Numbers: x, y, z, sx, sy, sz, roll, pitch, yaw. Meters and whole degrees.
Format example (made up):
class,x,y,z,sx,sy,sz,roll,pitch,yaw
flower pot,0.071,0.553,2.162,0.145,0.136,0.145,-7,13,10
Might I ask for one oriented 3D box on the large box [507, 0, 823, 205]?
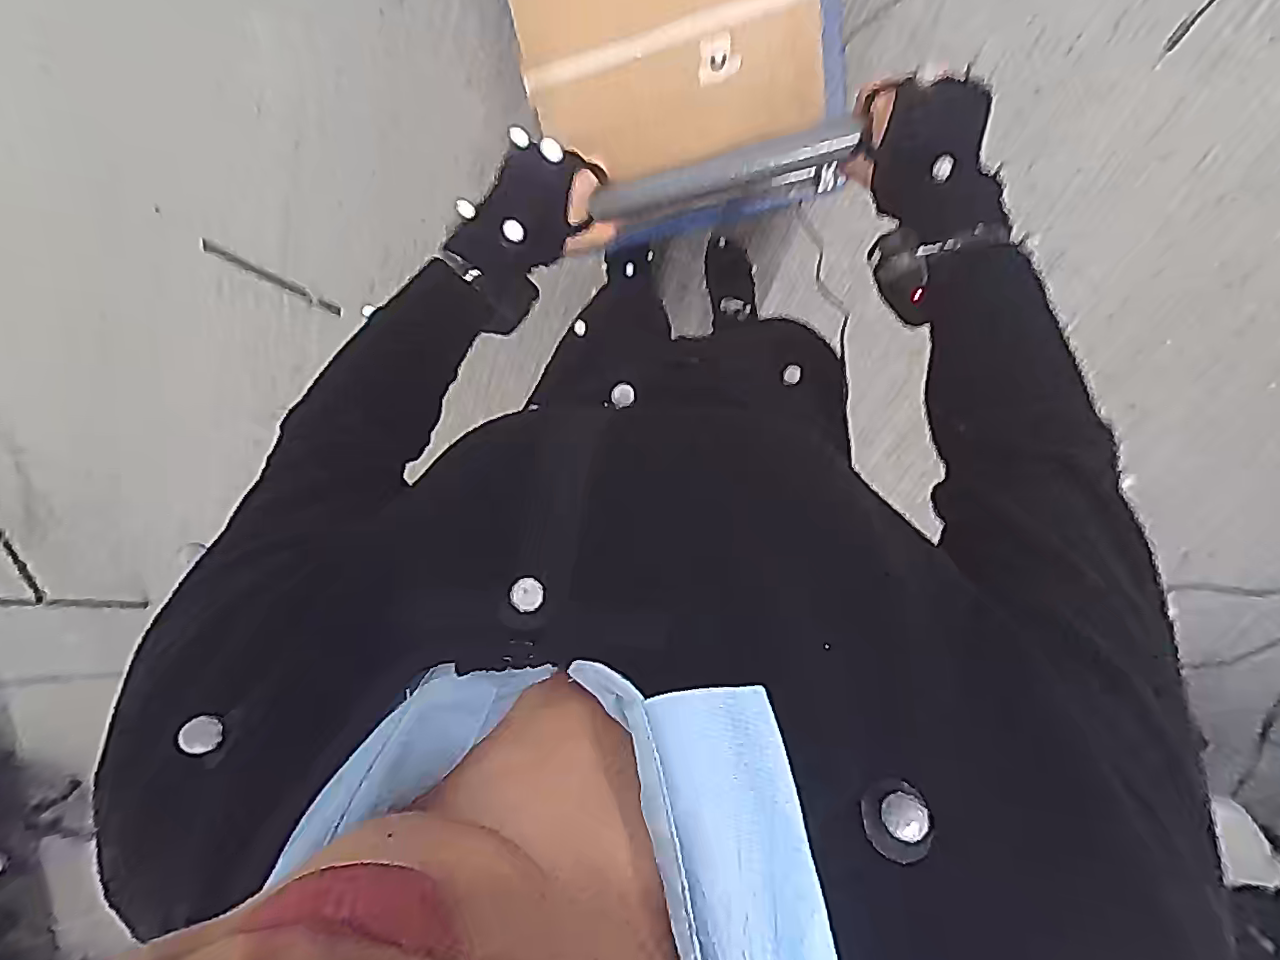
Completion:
class,x,y,z,sx,sy,sz,roll,pitch,yaw
large box,0.050,-0.663,0.876,0.408,0.320,0.320,-9,116,12
